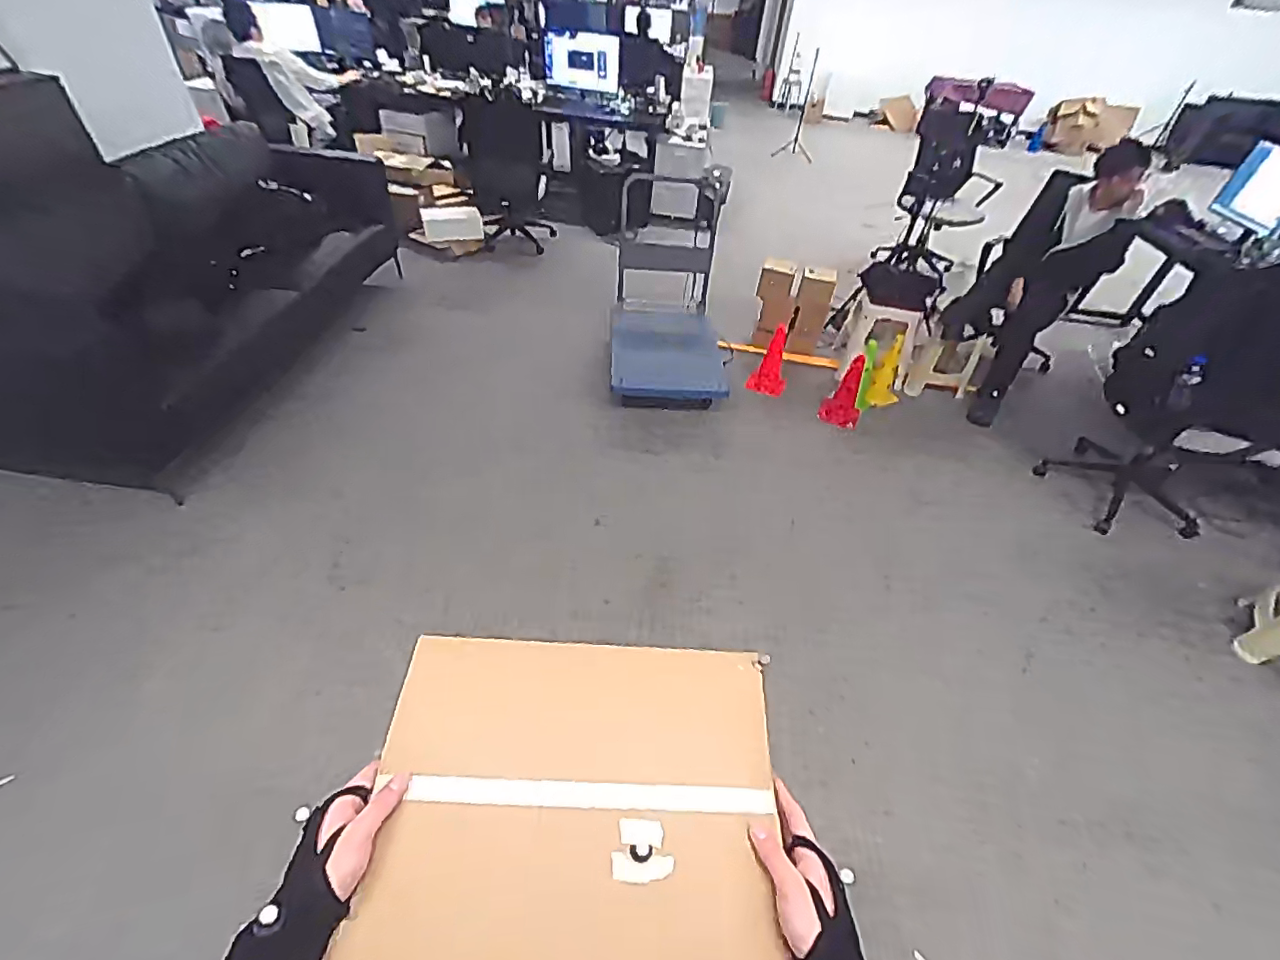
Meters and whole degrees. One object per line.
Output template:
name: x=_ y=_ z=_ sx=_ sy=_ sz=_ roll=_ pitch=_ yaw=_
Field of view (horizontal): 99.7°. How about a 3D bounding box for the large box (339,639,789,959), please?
large box: x=-0.074 y=0.414 z=0.675 sx=0.408 sy=0.320 sz=0.320 roll=4 pitch=51 yaw=-2
